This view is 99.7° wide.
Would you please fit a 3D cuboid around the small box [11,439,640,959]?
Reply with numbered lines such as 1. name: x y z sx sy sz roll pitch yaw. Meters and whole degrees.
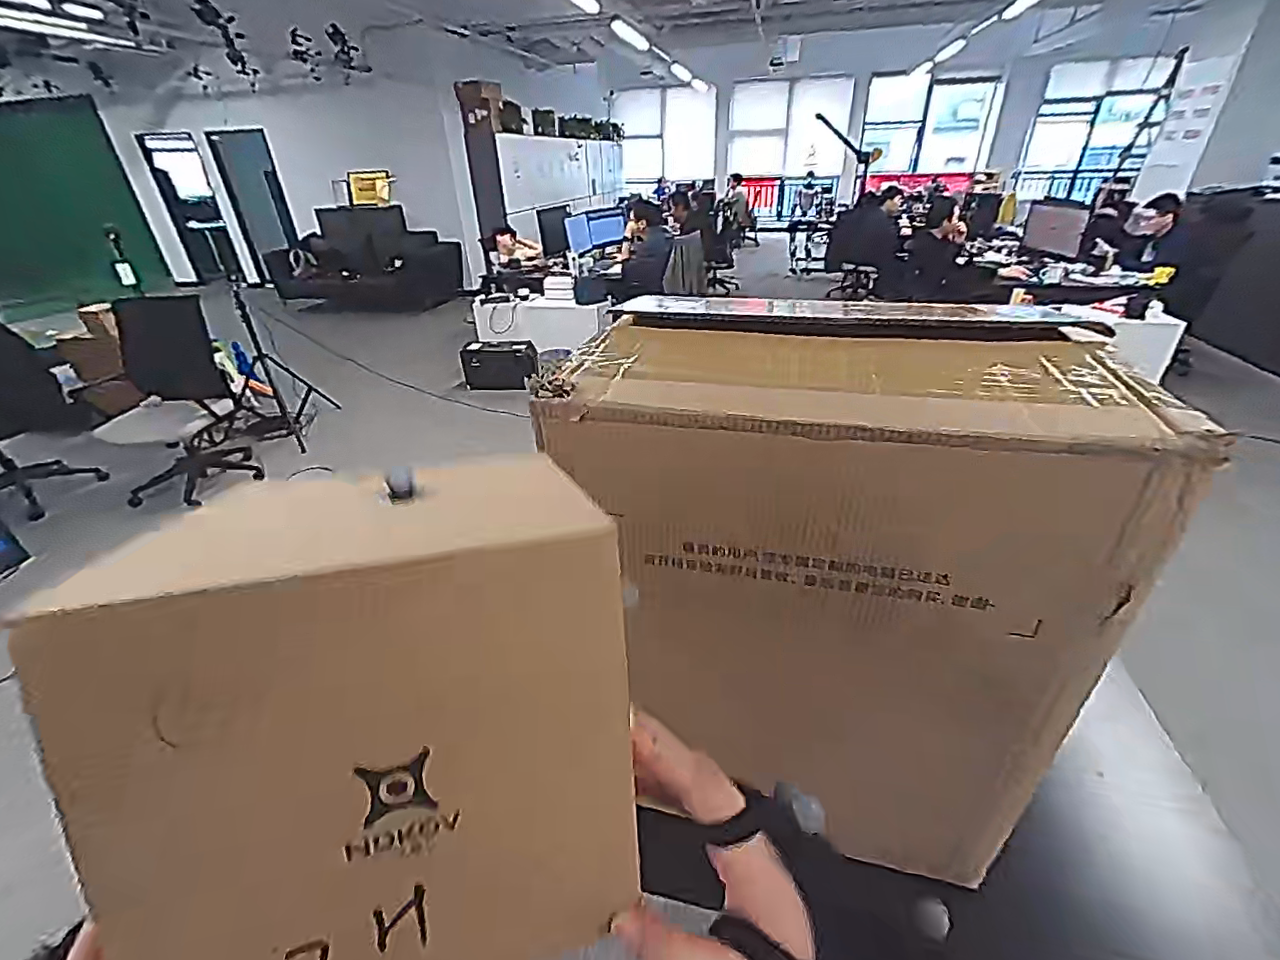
1. small box: -0.107 0.078 0.256 0.168 0.179 0.176 -8 14 -17
